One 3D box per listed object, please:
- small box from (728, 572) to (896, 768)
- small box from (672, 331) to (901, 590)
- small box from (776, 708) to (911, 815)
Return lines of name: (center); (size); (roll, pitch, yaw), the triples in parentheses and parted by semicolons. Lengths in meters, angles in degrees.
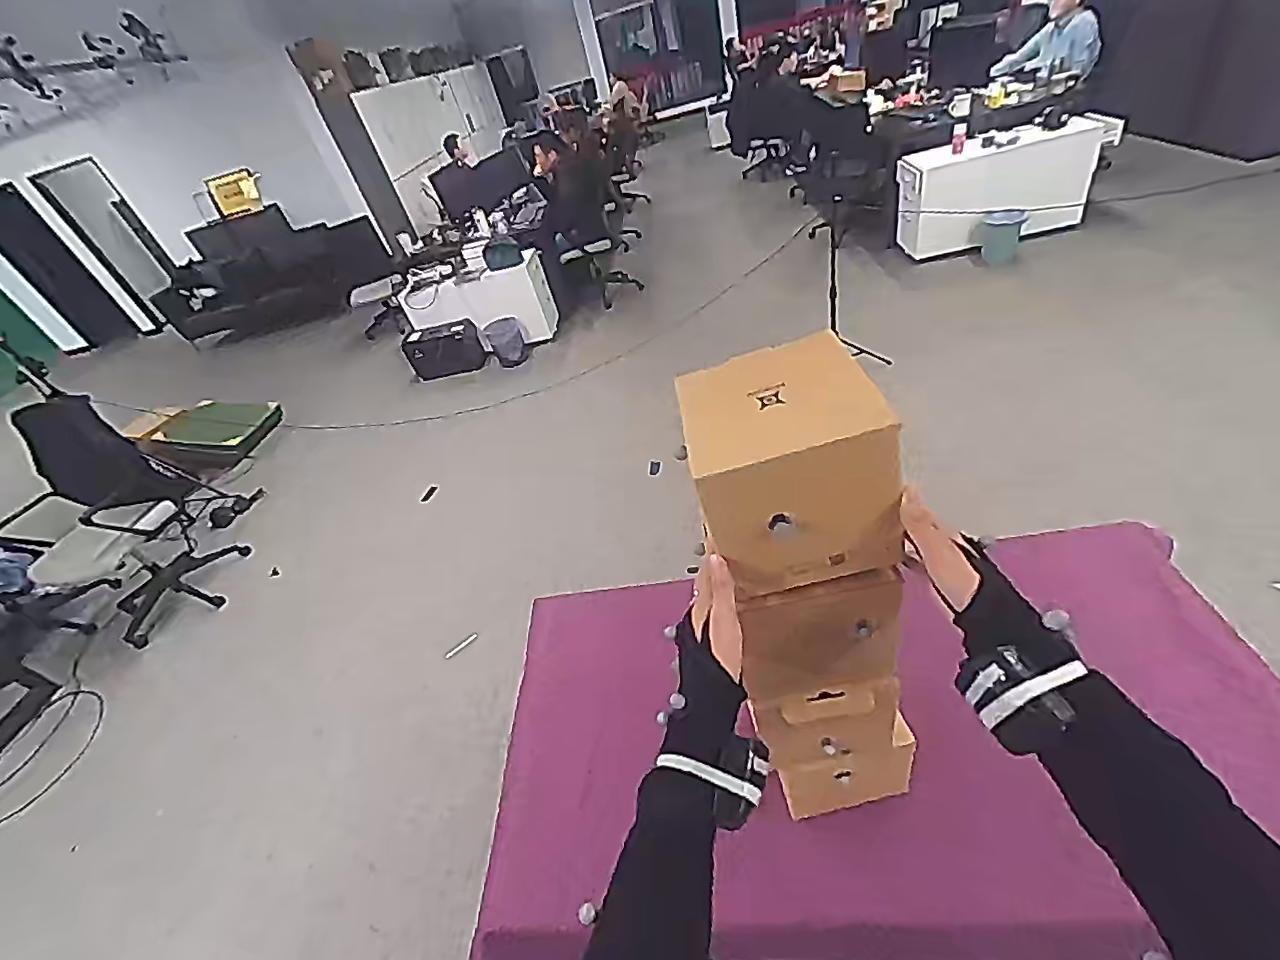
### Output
small box: (0.221, 0.252, 0.722); (0.168, 0.176, 0.179); (-13, 39, 7)
small box: (0.139, -0.013, 0.531); (0.168, 0.176, 0.179); (-17, 36, 11)
small box: (0.280, 0.376, 0.816); (0.179, 0.176, 0.168); (-15, 39, 2)
